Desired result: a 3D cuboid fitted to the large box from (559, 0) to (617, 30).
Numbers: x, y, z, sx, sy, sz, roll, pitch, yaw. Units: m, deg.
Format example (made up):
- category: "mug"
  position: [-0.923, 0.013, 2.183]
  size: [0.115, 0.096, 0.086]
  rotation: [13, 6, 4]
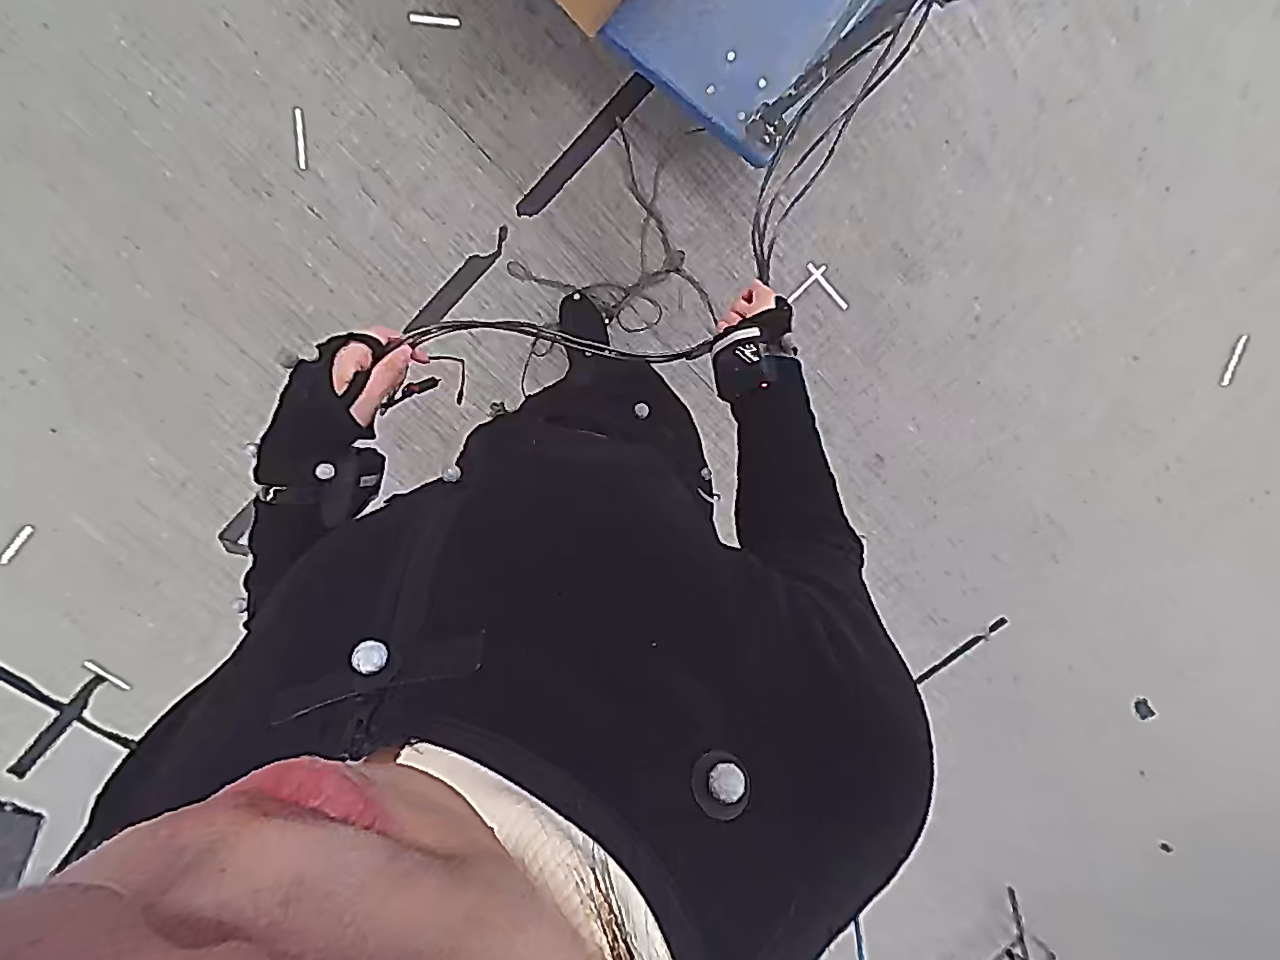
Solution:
- category: "large box"
  position: [-0.140, -1.033, 0.817]
  size: [0.408, 0.320, 0.320]
  rotation: [37, 102, -14]
